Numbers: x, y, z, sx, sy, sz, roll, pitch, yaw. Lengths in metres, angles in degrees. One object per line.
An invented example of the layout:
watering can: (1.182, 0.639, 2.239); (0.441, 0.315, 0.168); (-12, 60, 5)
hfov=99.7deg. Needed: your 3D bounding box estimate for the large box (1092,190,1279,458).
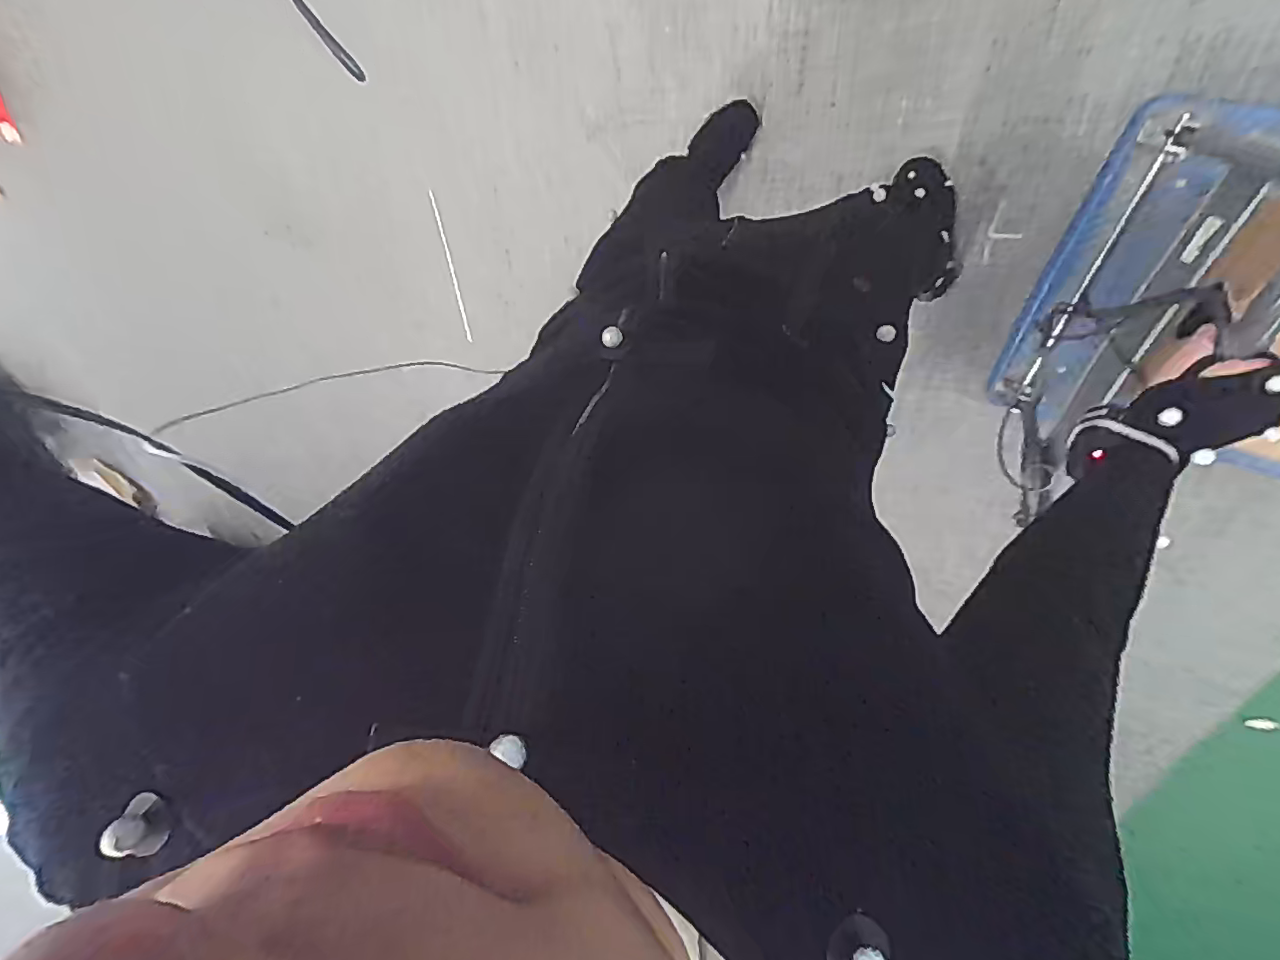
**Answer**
large box: (1.051, -0.231, 0.843); (0.408, 0.320, 0.320); (20, 131, 12)
